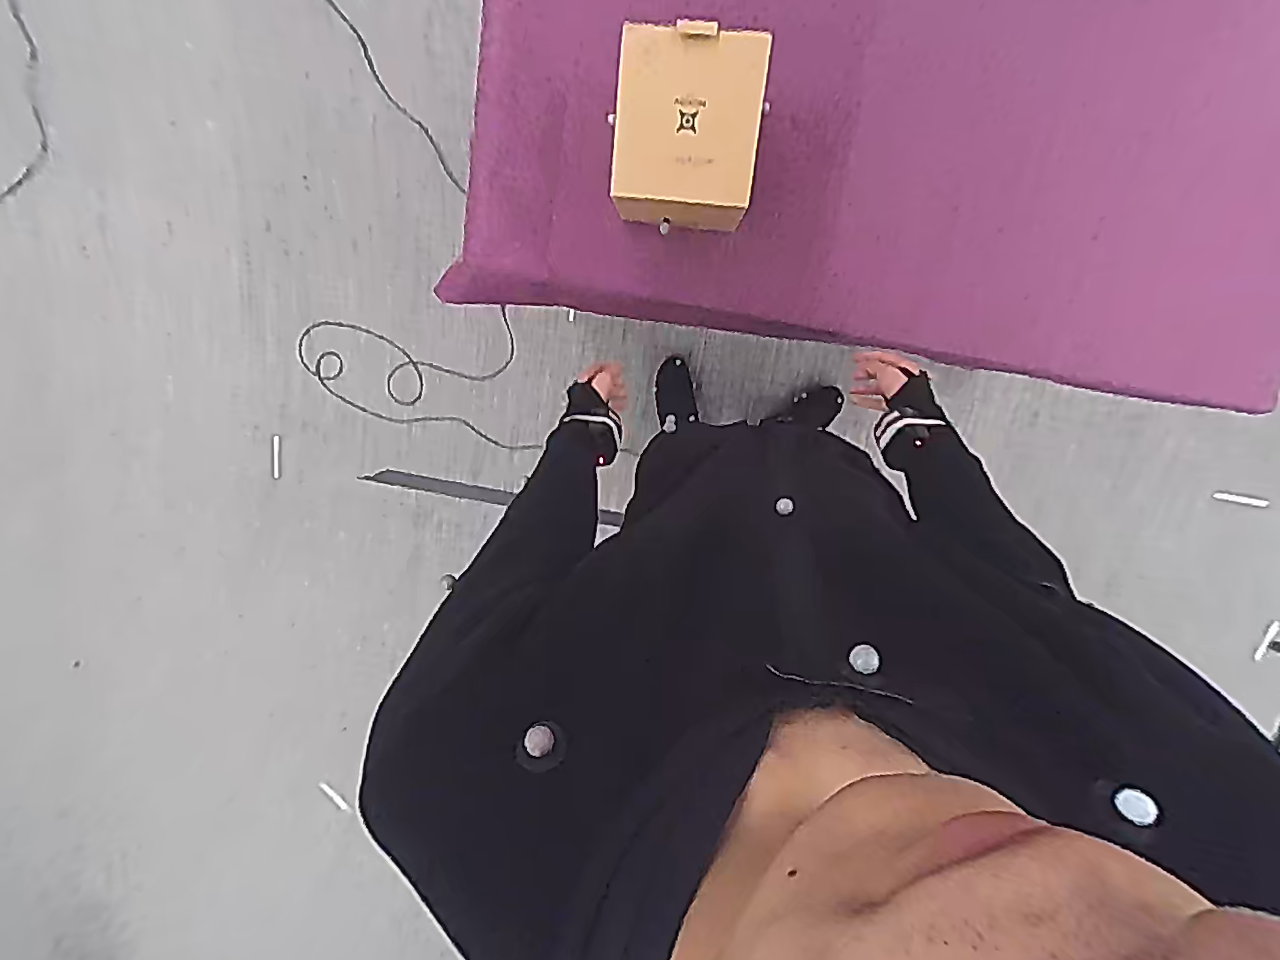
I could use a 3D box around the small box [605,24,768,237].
[{"bbox_3d":[0.053,-0.422,0.682,0.168,0.176,0.179,7,106,2],"label":"small box"}]
